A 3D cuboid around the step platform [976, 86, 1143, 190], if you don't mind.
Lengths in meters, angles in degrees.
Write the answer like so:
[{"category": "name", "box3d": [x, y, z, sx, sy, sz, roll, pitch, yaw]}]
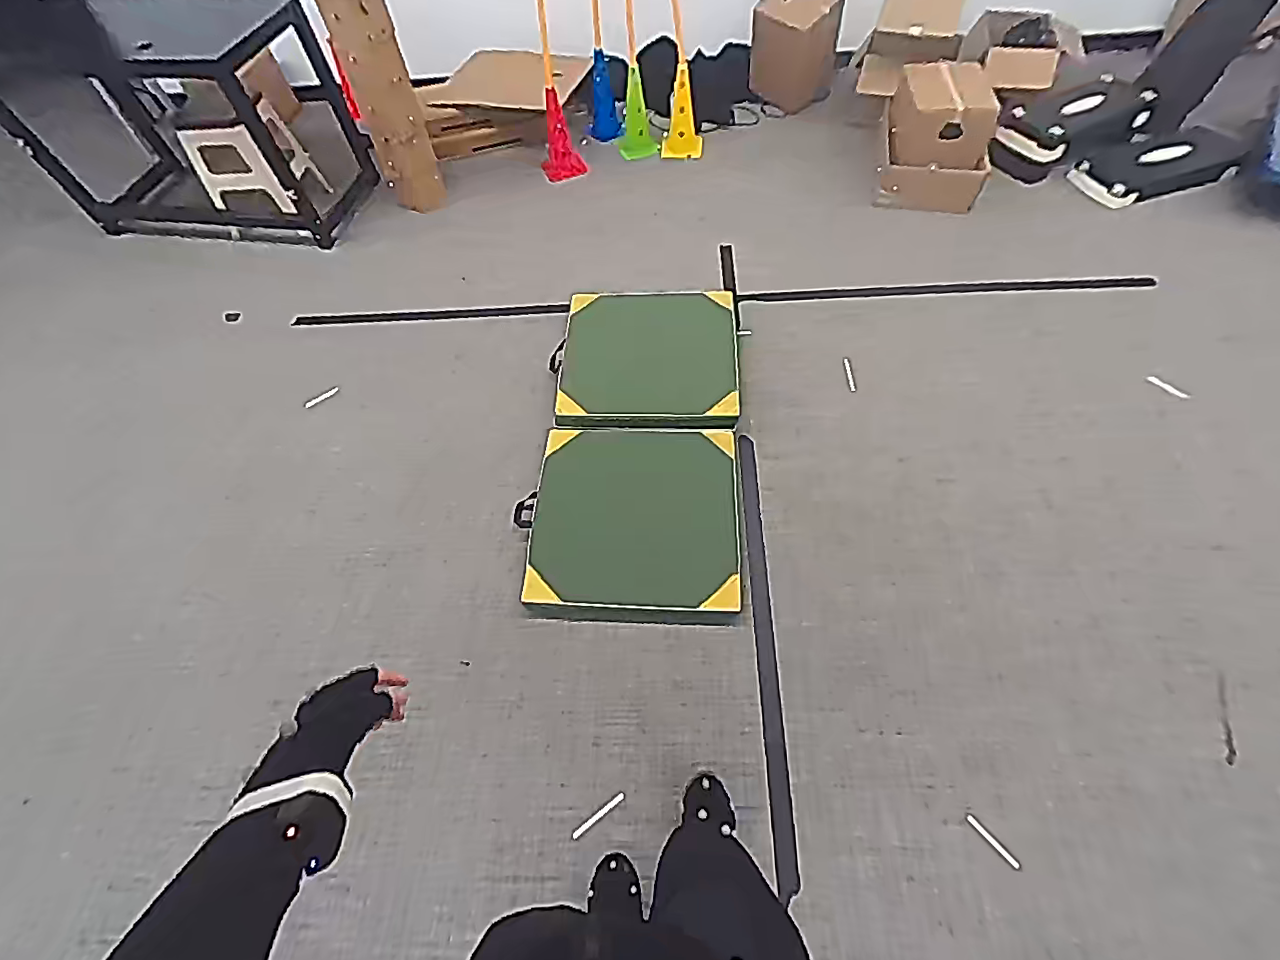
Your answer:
[{"category": "step platform", "box3d": [1.921, -1.576, 2.480, 0.684, 0.204, 0.286, -26, 60, -12]}]
